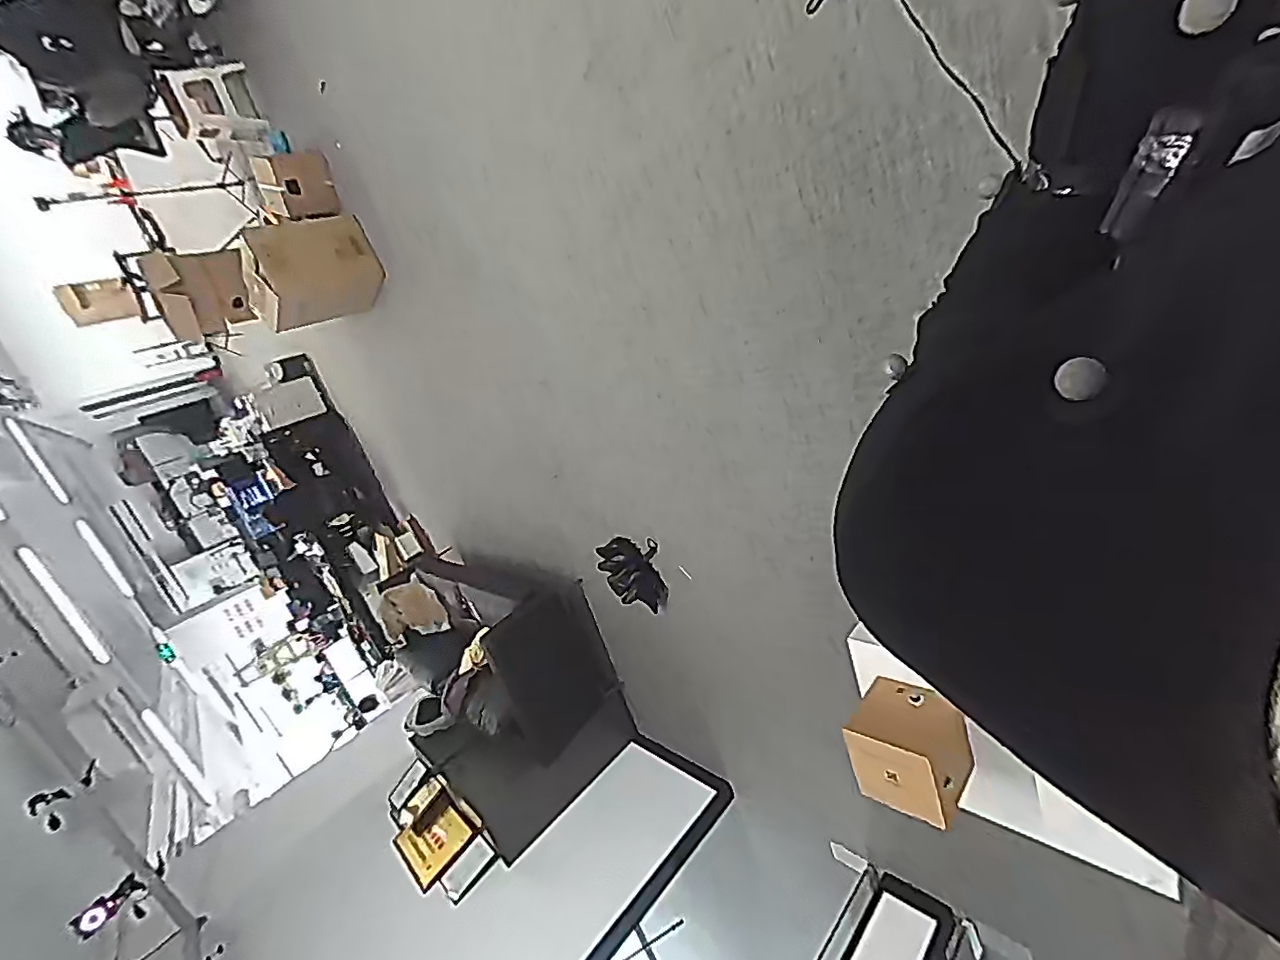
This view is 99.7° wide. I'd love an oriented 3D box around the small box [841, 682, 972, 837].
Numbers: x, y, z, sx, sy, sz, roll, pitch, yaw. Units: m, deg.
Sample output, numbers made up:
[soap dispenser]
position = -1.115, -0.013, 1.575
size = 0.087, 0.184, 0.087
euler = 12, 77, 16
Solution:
[small box]
position = 0.525, 0.533, 1.057
size = 0.168, 0.176, 0.179
euler = -2, 112, 50
